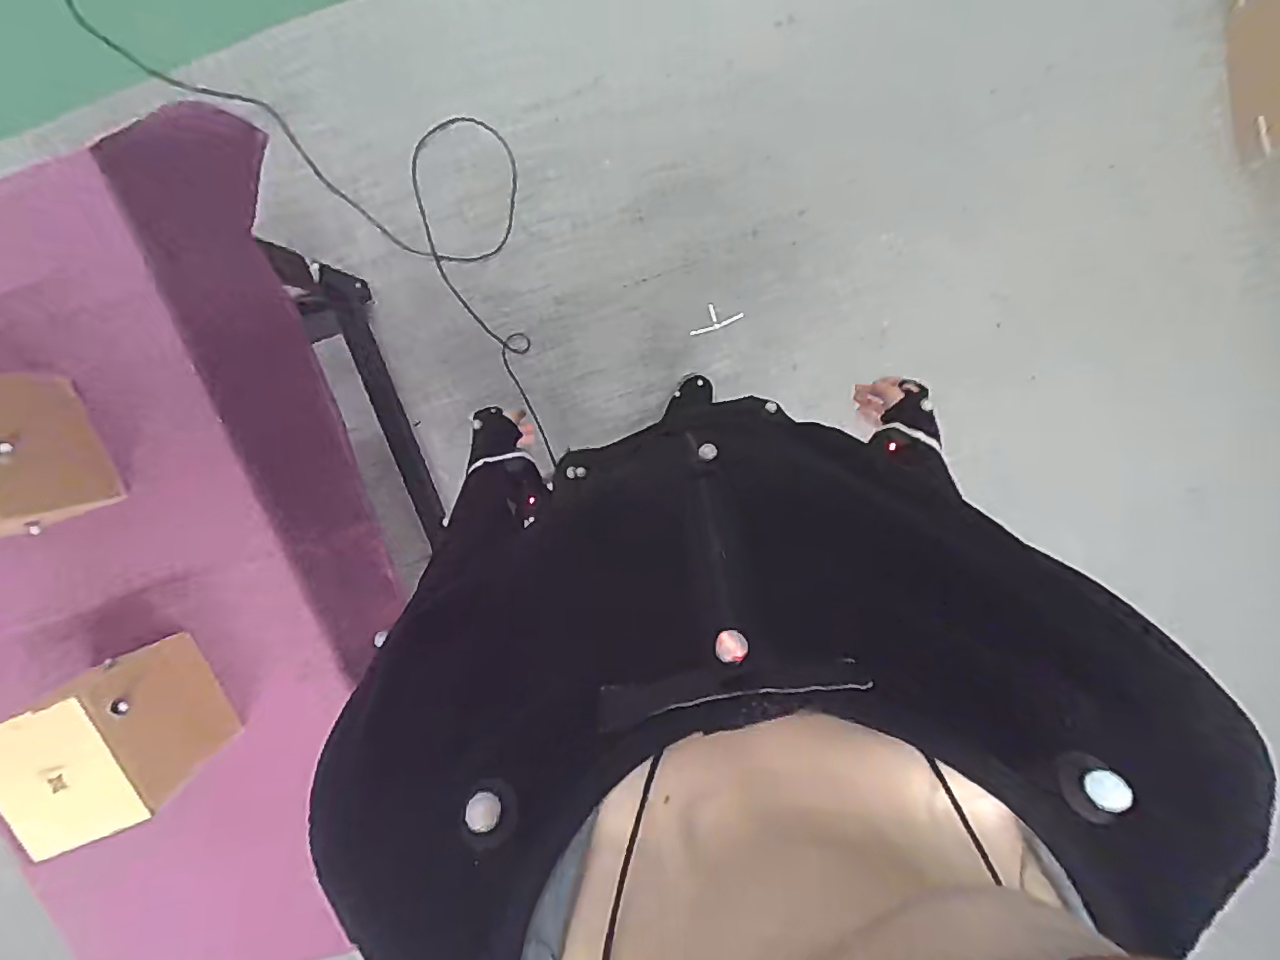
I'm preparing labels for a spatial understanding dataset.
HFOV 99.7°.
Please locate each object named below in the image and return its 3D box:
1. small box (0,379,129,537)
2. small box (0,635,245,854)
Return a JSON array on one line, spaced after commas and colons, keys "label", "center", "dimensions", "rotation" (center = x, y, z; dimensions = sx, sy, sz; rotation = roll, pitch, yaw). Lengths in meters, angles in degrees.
[{"label": "small box", "center": [-0.801, -0.020, 0.663], "dimensions": [0.168, 0.176, 0.179], "rotation": [-18, 99, 2]}, {"label": "small box", "center": [-0.691, 0.342, 0.728], "dimensions": [0.168, 0.176, 0.179], "rotation": [-22, 98, 3]}]
